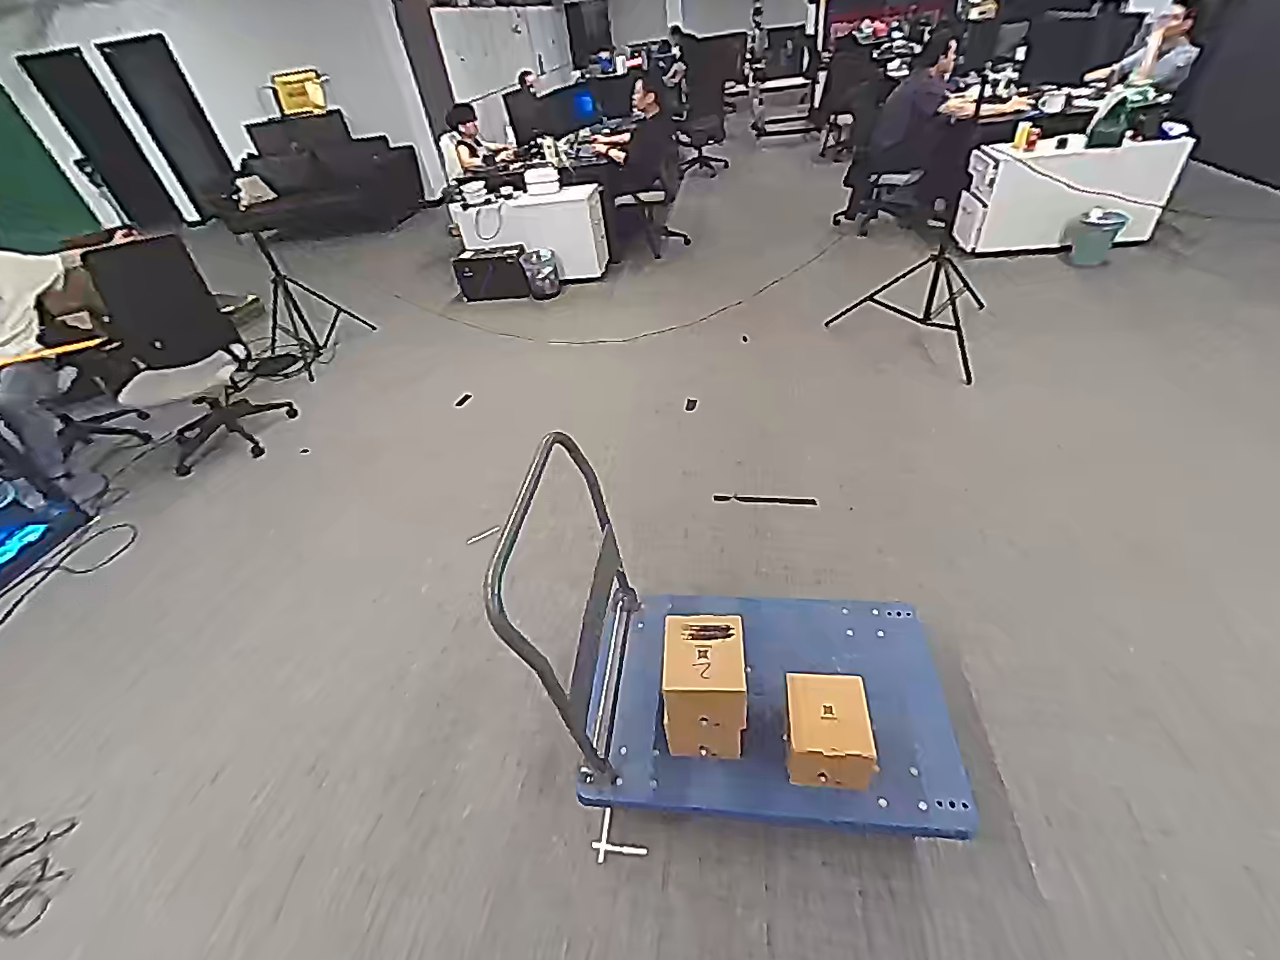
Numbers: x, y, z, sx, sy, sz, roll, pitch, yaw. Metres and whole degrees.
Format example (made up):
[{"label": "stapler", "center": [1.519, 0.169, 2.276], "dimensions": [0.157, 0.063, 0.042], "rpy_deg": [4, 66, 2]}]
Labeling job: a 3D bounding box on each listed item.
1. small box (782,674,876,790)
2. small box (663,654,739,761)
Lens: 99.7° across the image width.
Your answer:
[{"label": "small box", "center": [0.410, 0.558, 1.203], "dimensions": [0.168, 0.176, 0.179], "rpy_deg": [-1, 41, 10]}, {"label": "small box", "center": [0.148, 0.536, 1.278], "dimensions": [0.168, 0.176, 0.179], "rpy_deg": [-2, 41, 9]}]
